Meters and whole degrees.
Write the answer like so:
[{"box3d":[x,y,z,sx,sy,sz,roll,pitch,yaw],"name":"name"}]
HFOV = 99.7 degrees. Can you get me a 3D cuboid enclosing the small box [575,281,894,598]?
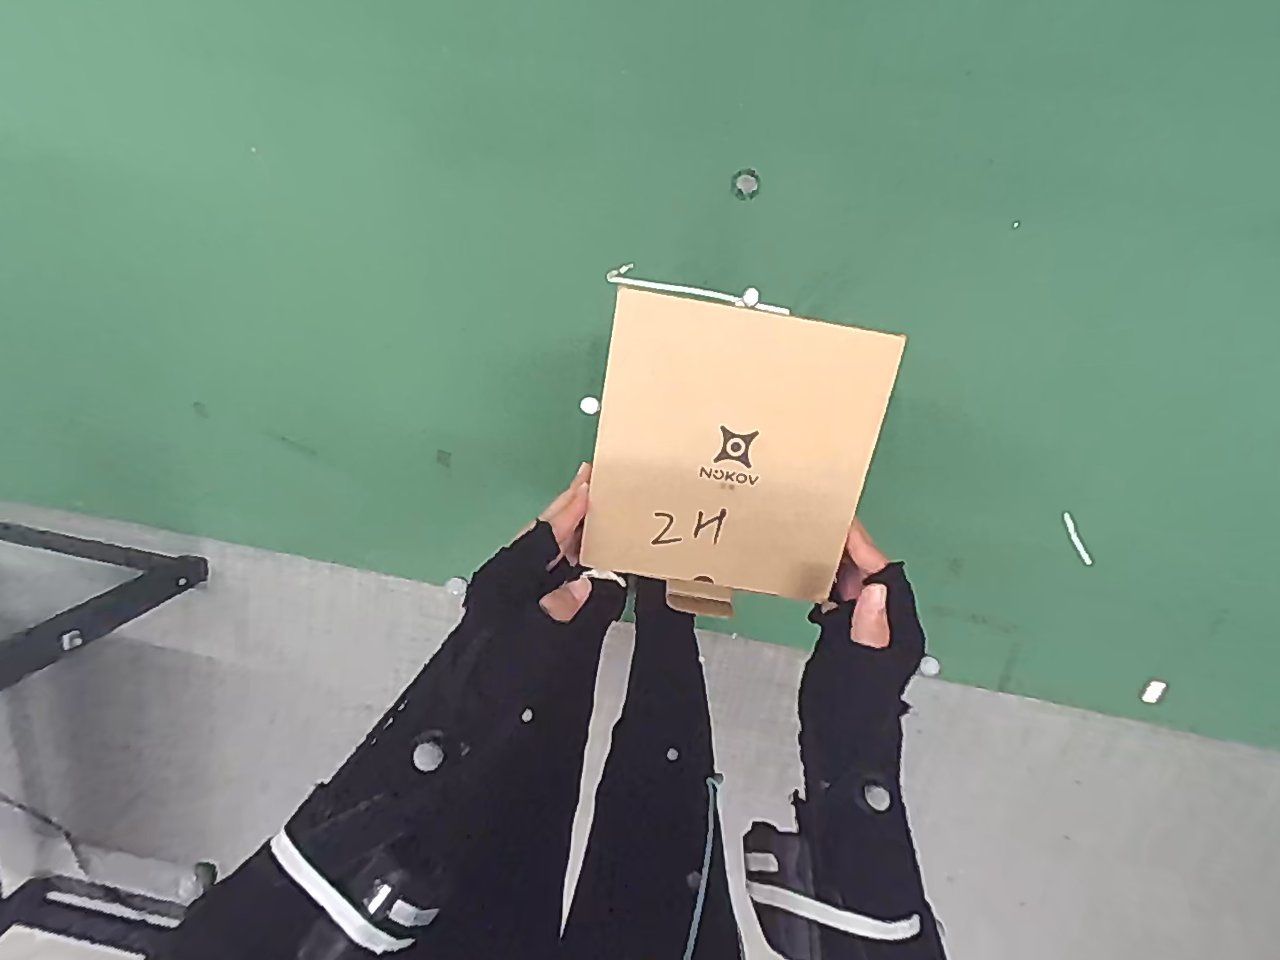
[{"box3d":[0.053,-0.040,0.403,0.168,0.176,0.179,9,108,0],"name":"small box"}]
